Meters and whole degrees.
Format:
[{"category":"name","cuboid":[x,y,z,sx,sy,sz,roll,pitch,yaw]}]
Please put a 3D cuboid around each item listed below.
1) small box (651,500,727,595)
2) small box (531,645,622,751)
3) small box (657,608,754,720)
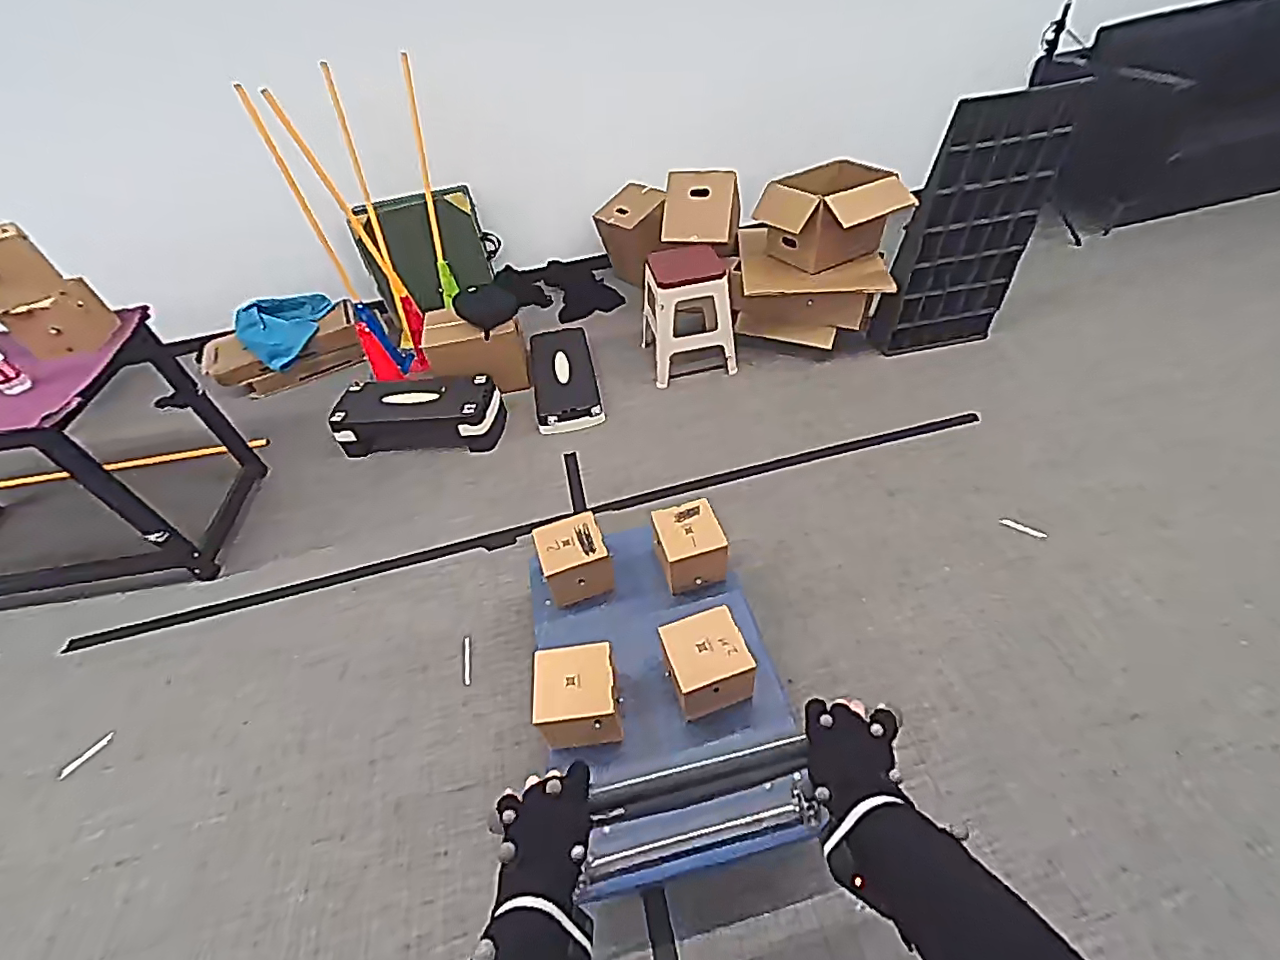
[{"category":"small box","cuboid":[0.133,0.189,1.499,0.168,0.176,0.179,-15,48,-6]},{"category":"small box","cuboid":[-0.143,0.503,1.240,0.179,0.176,0.168,-8,46,-1]},{"category":"small box","cuboid":[0.152,0.434,1.265,0.179,0.176,0.168,-17,47,-8]}]
